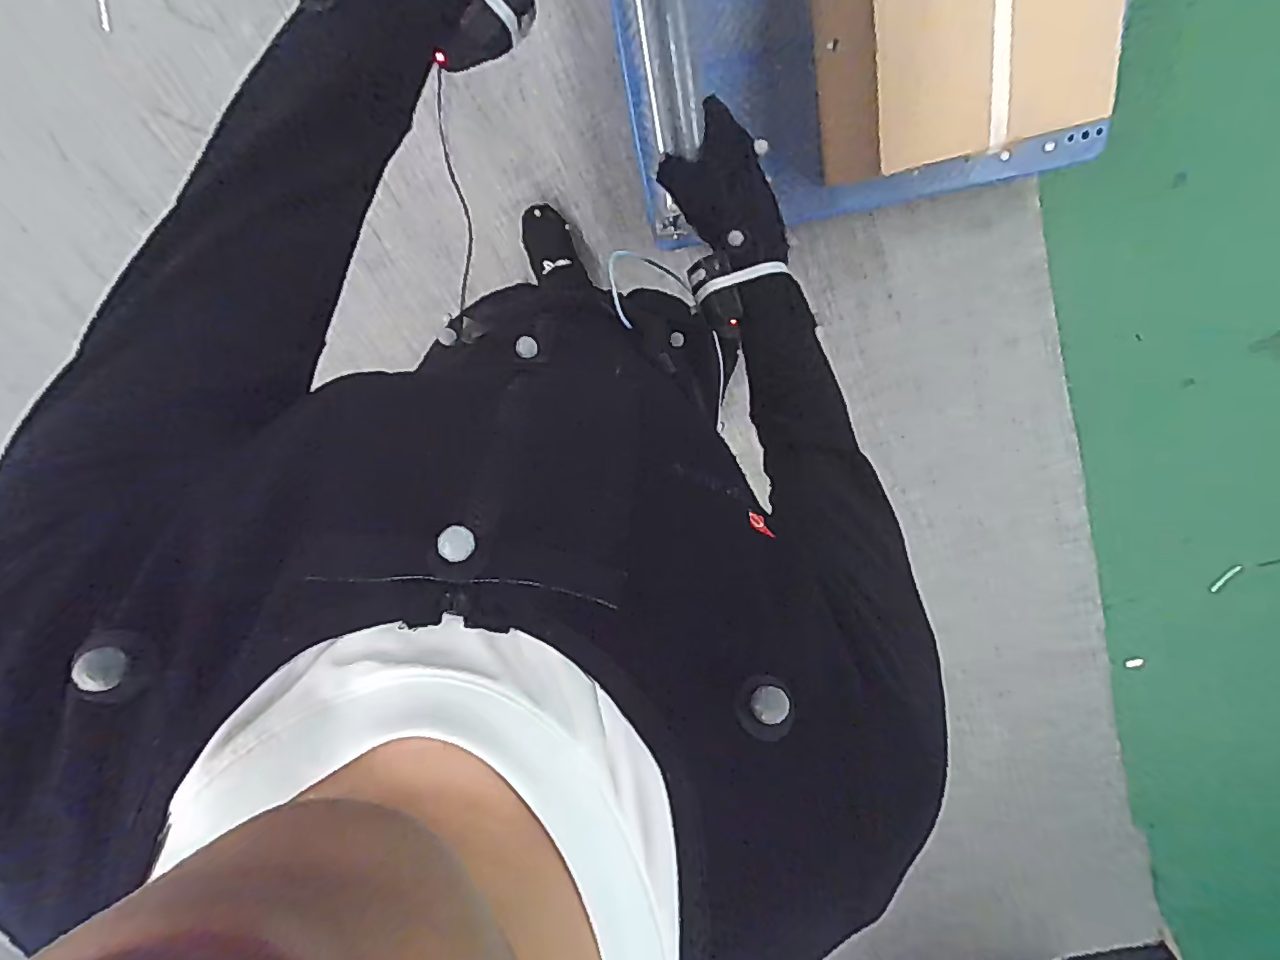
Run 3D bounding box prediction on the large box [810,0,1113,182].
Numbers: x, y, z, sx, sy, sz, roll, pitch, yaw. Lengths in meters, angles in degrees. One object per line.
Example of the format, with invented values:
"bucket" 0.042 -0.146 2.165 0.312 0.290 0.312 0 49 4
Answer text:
"large box" 0.457 -0.724 0.828 0.320 0.320 0.408 -11 114 7
